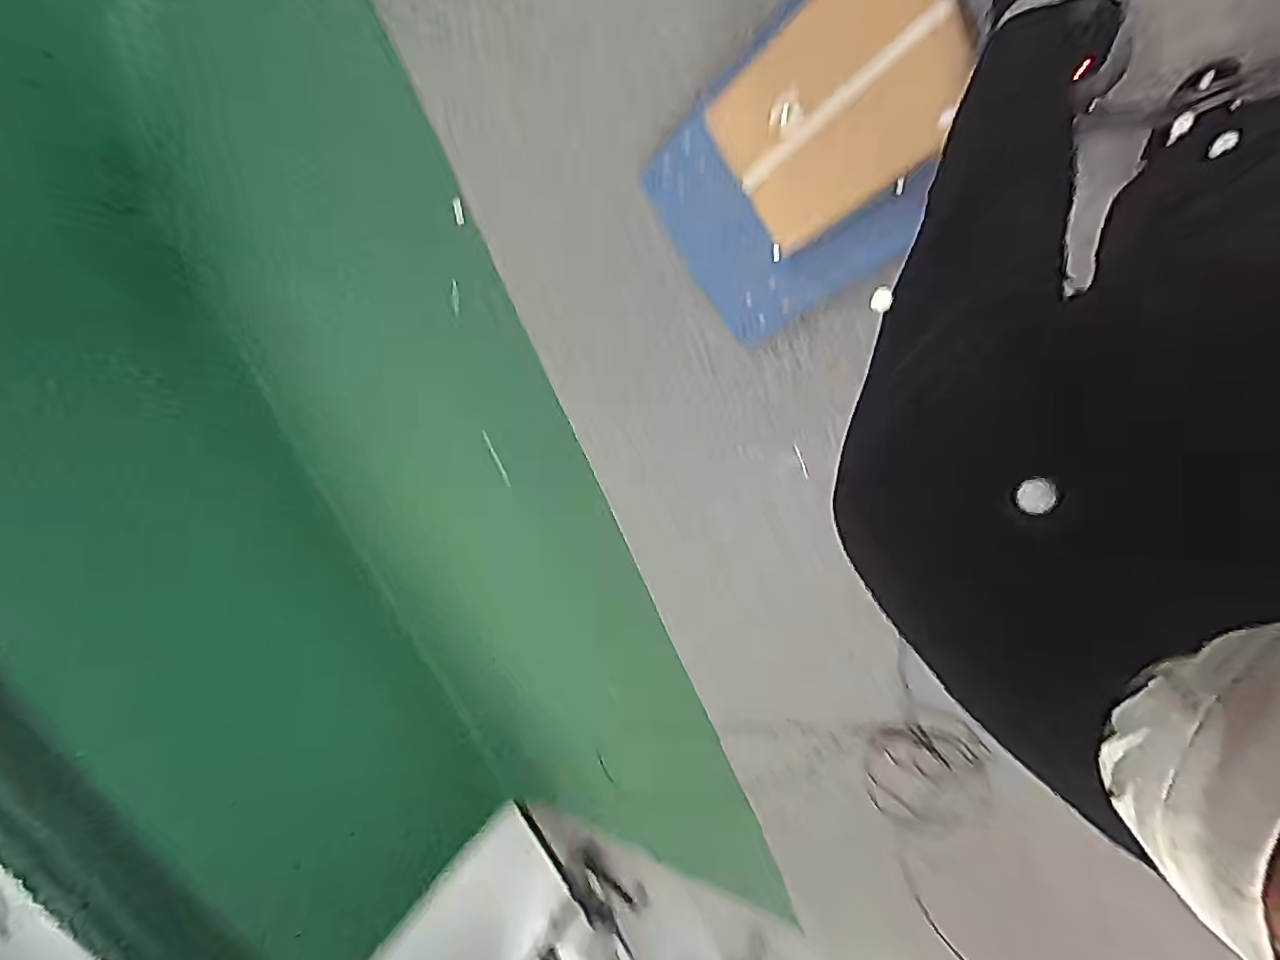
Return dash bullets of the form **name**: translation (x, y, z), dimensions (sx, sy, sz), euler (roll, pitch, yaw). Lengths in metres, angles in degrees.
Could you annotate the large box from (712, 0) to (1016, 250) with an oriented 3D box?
- **large box**: translation (0.427, -0.722, 1.041), dimensions (0.408, 0.320, 0.320), euler (-23, 102, 45)
